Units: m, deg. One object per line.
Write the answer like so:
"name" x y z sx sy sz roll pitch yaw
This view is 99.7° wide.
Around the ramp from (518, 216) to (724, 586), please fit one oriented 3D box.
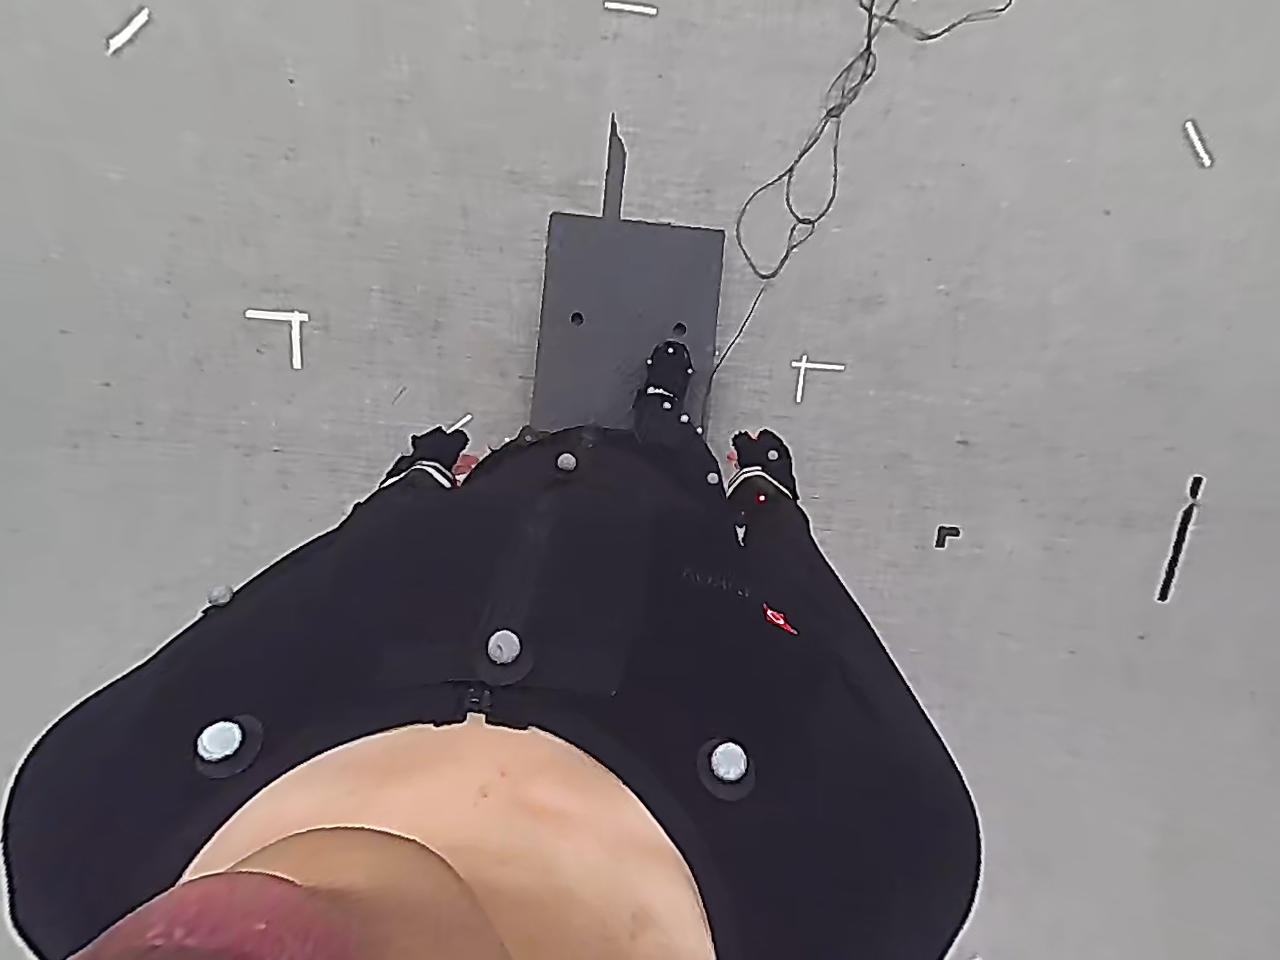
"ramp" -0.050 -0.222 1.496 0.509 0.206 0.991 4 98 0
